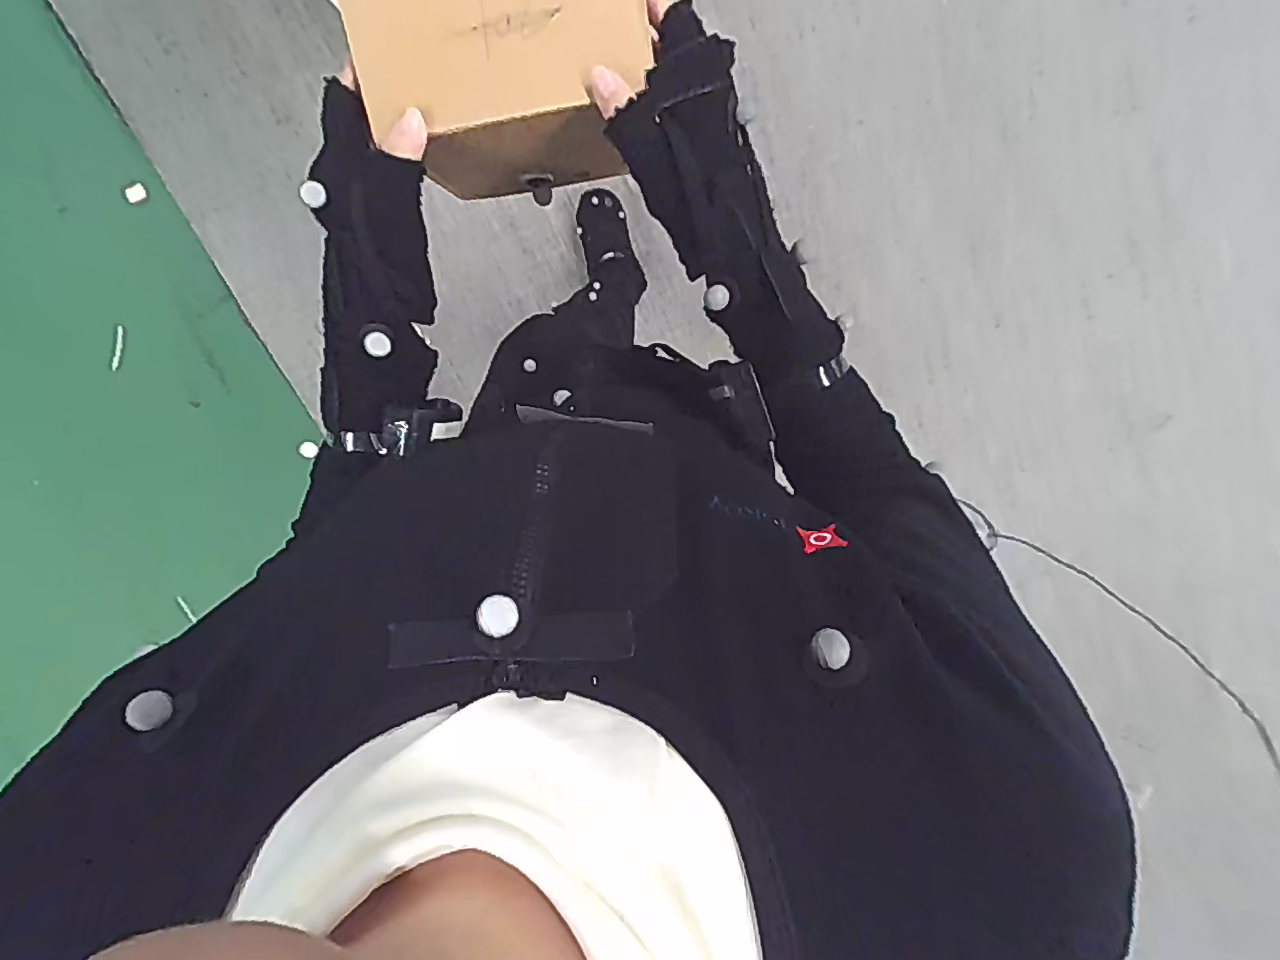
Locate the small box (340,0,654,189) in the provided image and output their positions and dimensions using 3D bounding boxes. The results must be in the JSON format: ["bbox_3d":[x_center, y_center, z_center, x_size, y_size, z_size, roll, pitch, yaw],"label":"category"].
[{"bbox_3d":[-0.084,-0.317,0.357,0.168,0.176,0.179,-8,107,4],"label":"small box"}]
